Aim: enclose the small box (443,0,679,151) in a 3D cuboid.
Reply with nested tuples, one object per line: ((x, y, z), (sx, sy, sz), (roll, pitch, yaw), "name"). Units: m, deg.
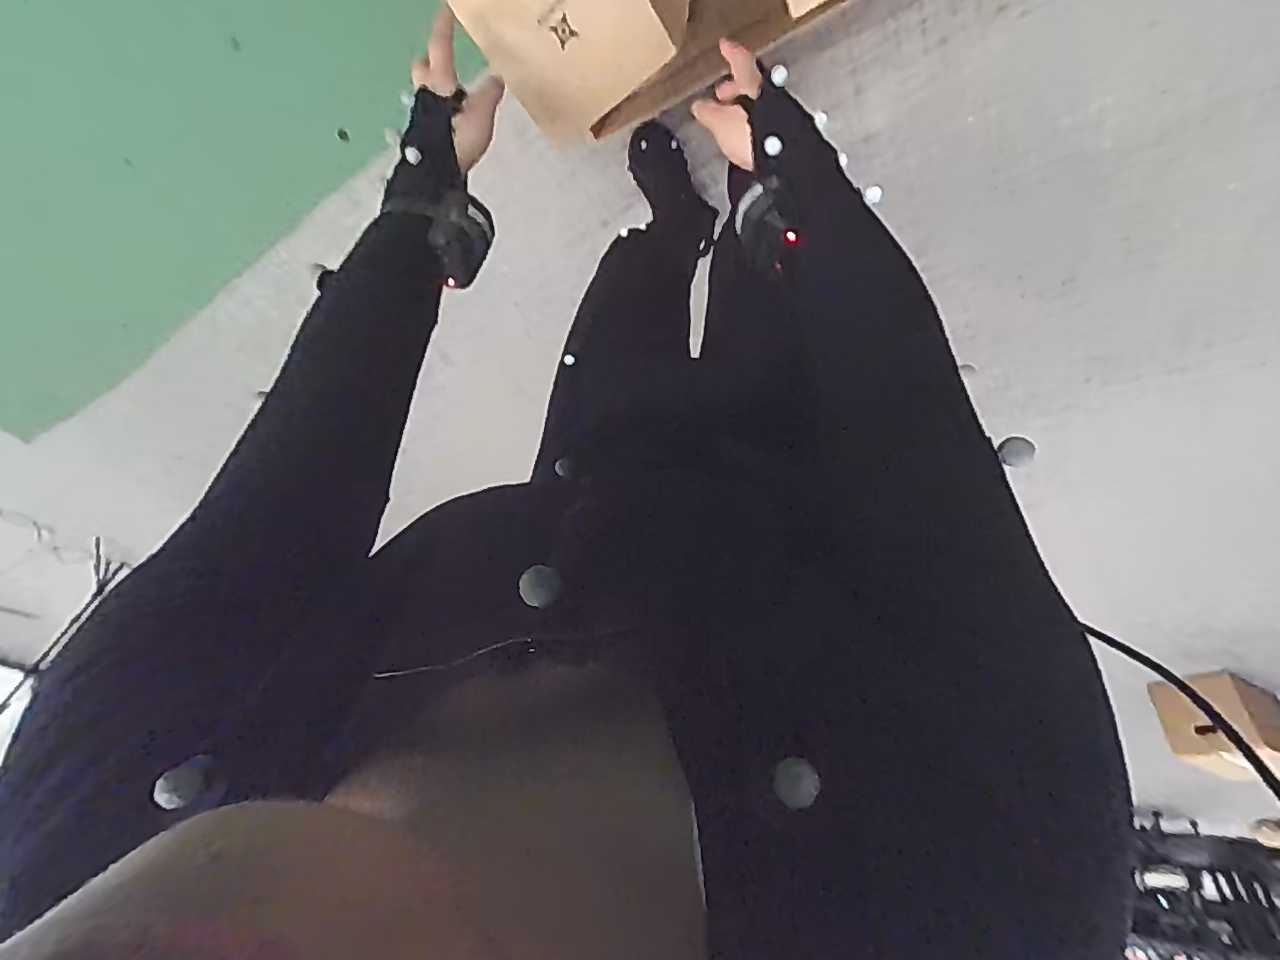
((-0.071, -0.502, 0.566), (0.168, 0.176, 0.179), (-20, 134, 31), "small box")
